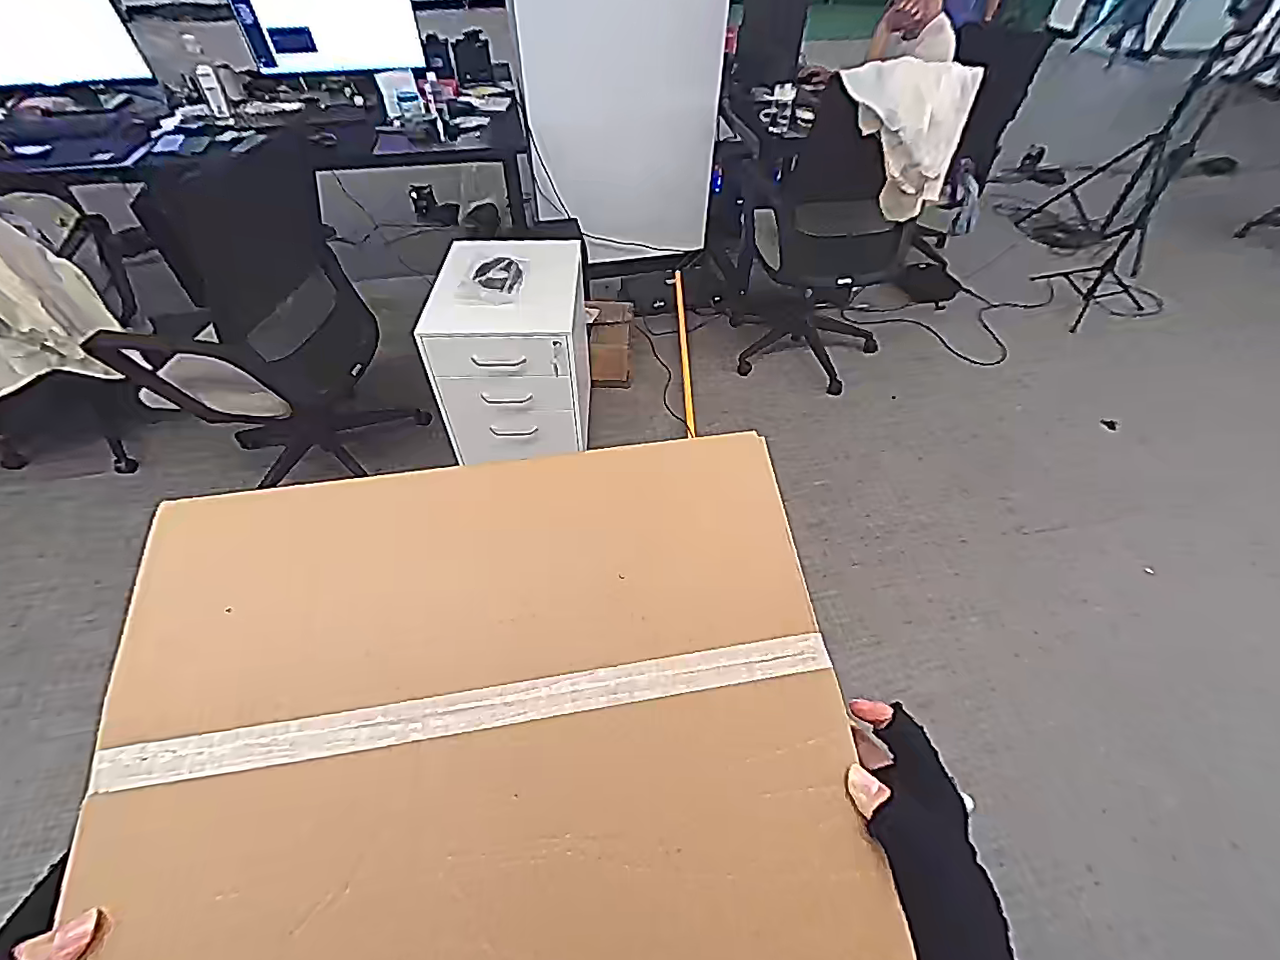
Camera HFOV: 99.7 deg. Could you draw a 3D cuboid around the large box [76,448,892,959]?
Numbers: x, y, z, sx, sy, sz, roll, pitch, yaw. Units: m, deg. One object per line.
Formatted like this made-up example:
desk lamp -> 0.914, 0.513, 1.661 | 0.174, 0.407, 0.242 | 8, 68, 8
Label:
large box -> -0.092, 0.203, 0.449 | 0.408, 0.320, 0.320 | -8, 64, -5
